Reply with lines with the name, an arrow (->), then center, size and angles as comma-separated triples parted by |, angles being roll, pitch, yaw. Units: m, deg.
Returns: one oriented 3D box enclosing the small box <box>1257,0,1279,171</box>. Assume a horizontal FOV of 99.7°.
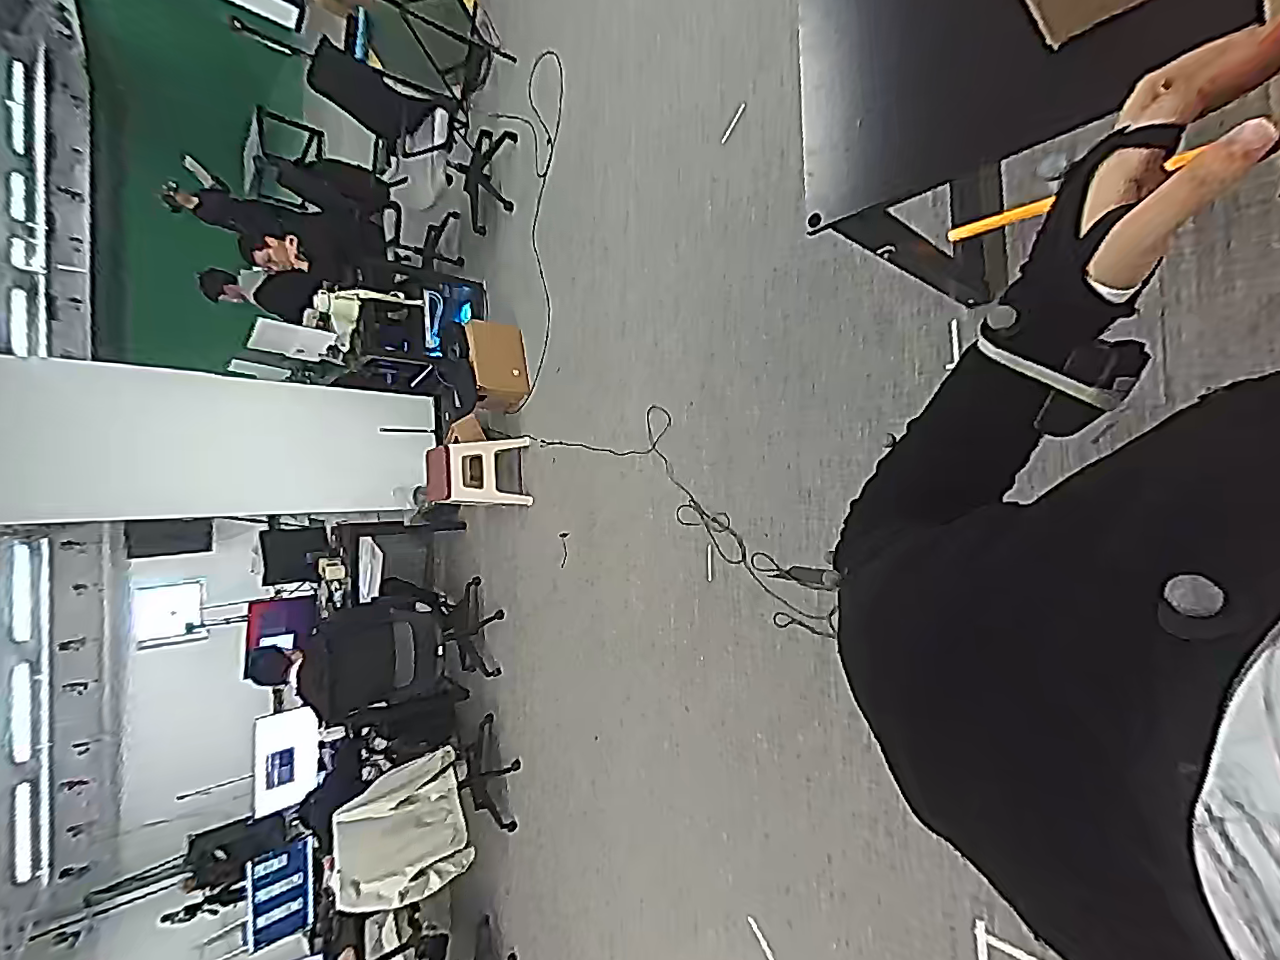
small box -> 0.377, -0.244, 0.214 | 0.168, 0.176, 0.179 | -6, 93, 46
